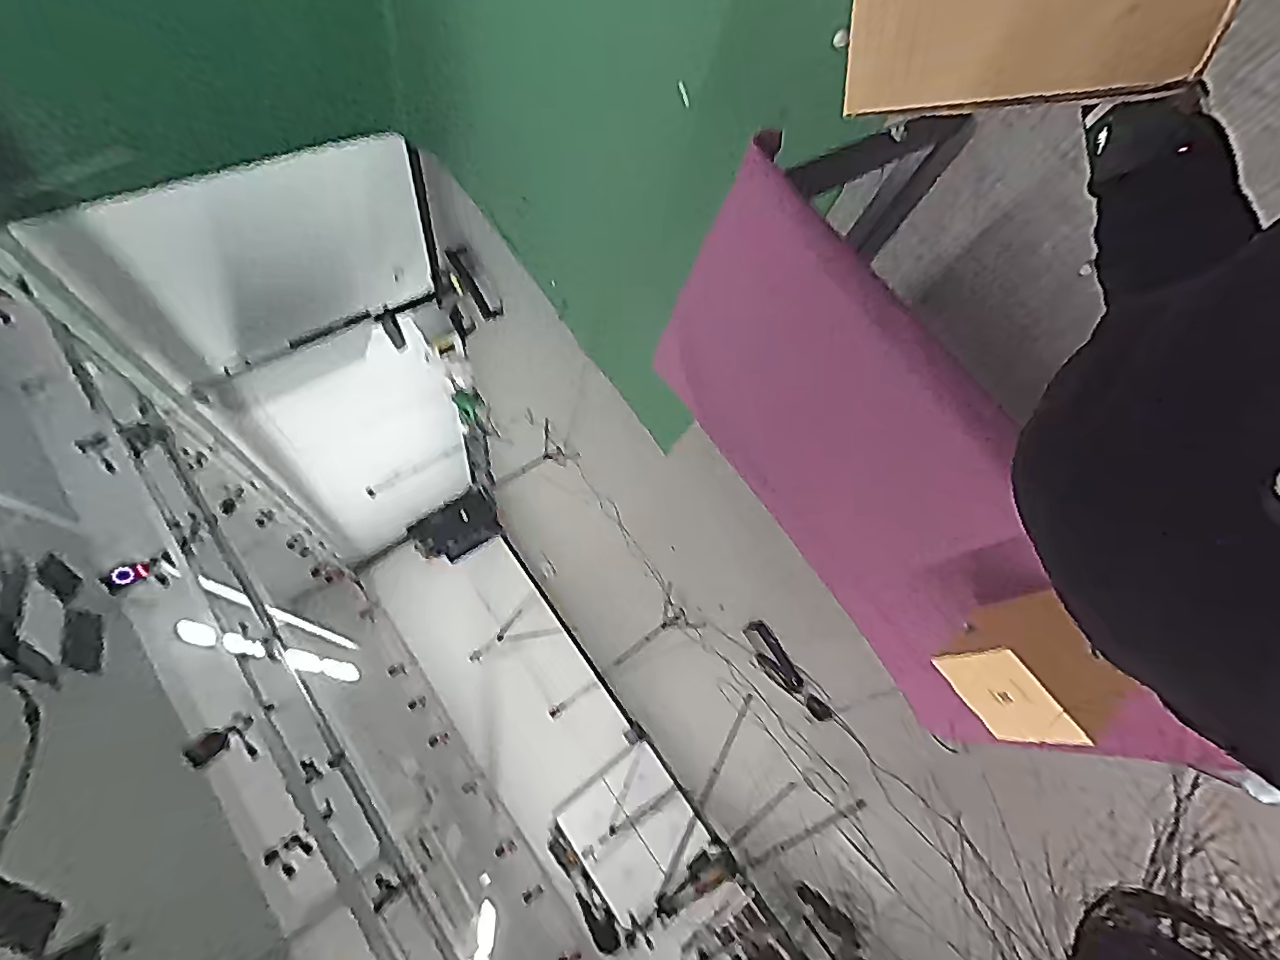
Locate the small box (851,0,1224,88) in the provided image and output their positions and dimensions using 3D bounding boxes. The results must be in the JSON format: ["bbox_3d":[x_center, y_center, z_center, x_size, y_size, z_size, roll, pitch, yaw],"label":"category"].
[{"bbox_3d":[0.212,-0.343,0.275,0.179,0.168,0.176,7,148,20],"label":"small box"}]

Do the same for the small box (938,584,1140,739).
[{"bbox_3d":[0.650,0.297,0.890,0.168,0.176,0.179,52,156,12],"label":"small box"}]
